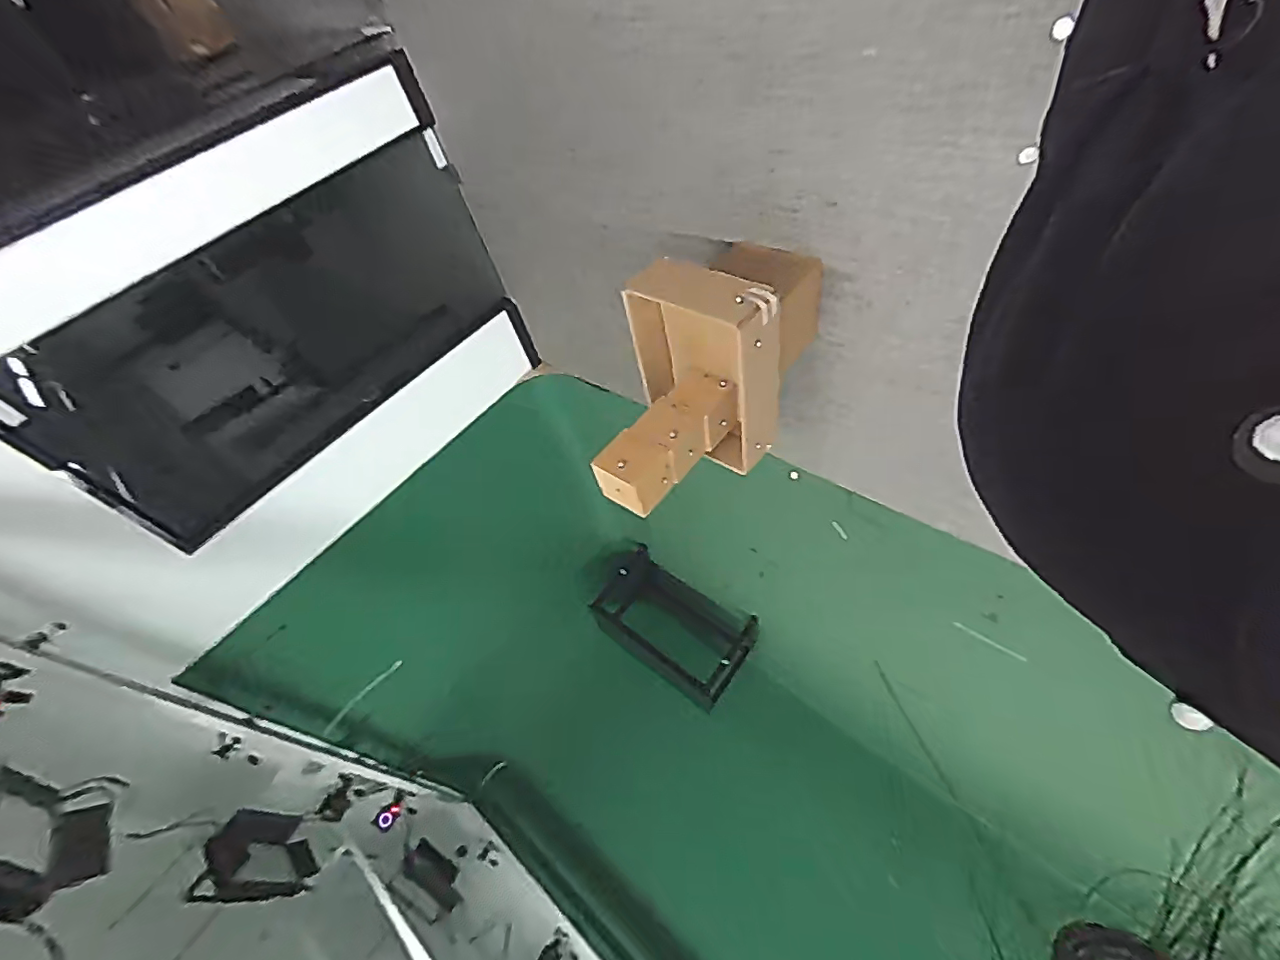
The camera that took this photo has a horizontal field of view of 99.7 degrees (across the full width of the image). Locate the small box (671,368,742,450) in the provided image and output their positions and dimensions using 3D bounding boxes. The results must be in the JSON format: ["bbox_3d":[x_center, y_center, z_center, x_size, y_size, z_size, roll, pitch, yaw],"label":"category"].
[{"bbox_3d":[0.224,-0.239,1.780,0.168,0.176,0.179,30,154,30],"label":"small box"}]

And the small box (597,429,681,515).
[{"bbox_3d":[0.000,-0.031,1.664,0.179,0.176,0.168,28,153,32],"label":"small box"}]
